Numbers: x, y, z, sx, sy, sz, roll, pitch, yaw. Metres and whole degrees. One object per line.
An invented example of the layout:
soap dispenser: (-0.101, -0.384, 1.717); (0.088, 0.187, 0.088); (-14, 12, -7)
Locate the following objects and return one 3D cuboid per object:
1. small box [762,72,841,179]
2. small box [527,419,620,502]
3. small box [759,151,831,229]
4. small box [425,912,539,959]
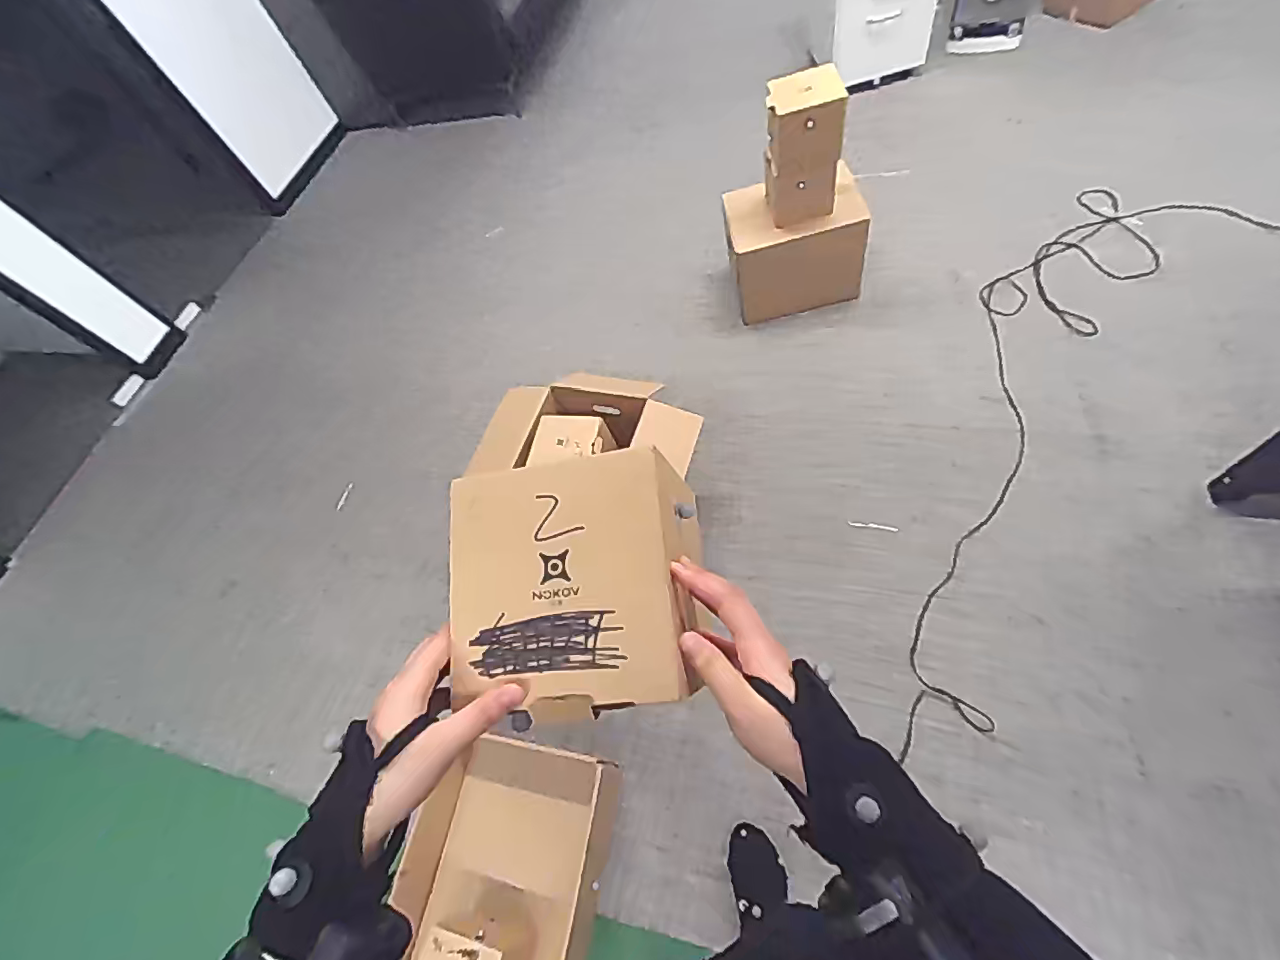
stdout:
small box: (0.440, -0.971, 1.491); (0.179, 0.176, 0.168); (-11, 60, 10)
small box: (-0.173, -0.050, 1.462); (0.179, 0.176, 0.168); (4, 64, 18)
small box: (0.466, -0.891, 1.631); (0.179, 0.176, 0.168); (-11, 60, 9)
small box: (-0.318, 0.986, 1.056); (0.168, 0.176, 0.179); (3, 61, 19)
